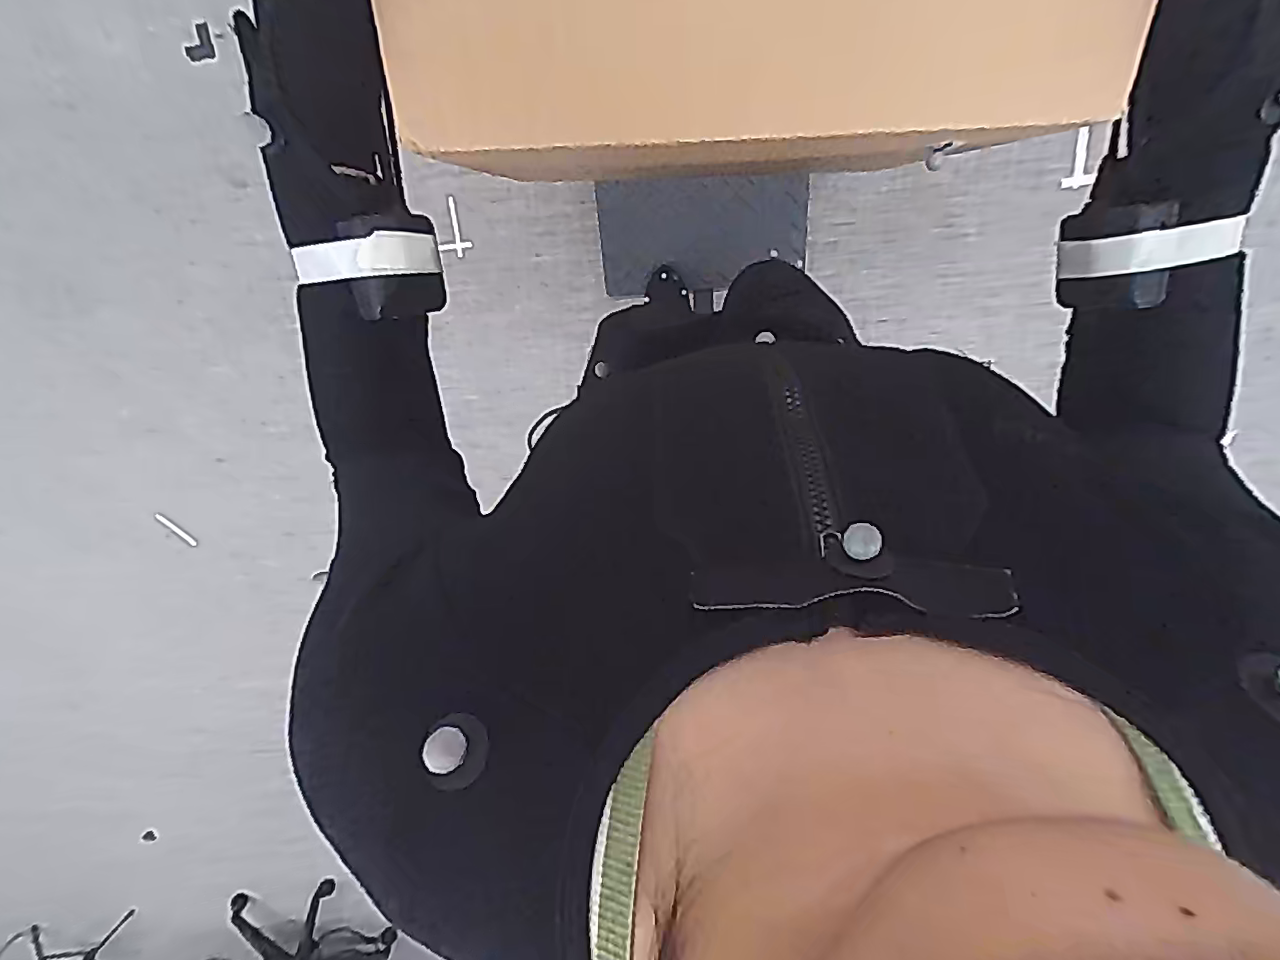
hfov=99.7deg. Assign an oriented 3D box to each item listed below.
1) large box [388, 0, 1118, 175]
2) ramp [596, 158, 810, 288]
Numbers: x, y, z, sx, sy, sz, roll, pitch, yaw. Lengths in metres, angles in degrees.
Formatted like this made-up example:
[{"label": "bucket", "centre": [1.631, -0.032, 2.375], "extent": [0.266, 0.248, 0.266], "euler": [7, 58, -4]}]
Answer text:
[{"label": "large box", "centre": [0.059, -0.408, 0.384], "extent": [0.408, 0.320, 0.320], "euler": [-2, 116, 1]}, {"label": "ramp", "centre": [0.121, -0.933, 1.110], "extent": [0.509, 0.206, 0.991], "euler": [-5, 109, 3]}]
